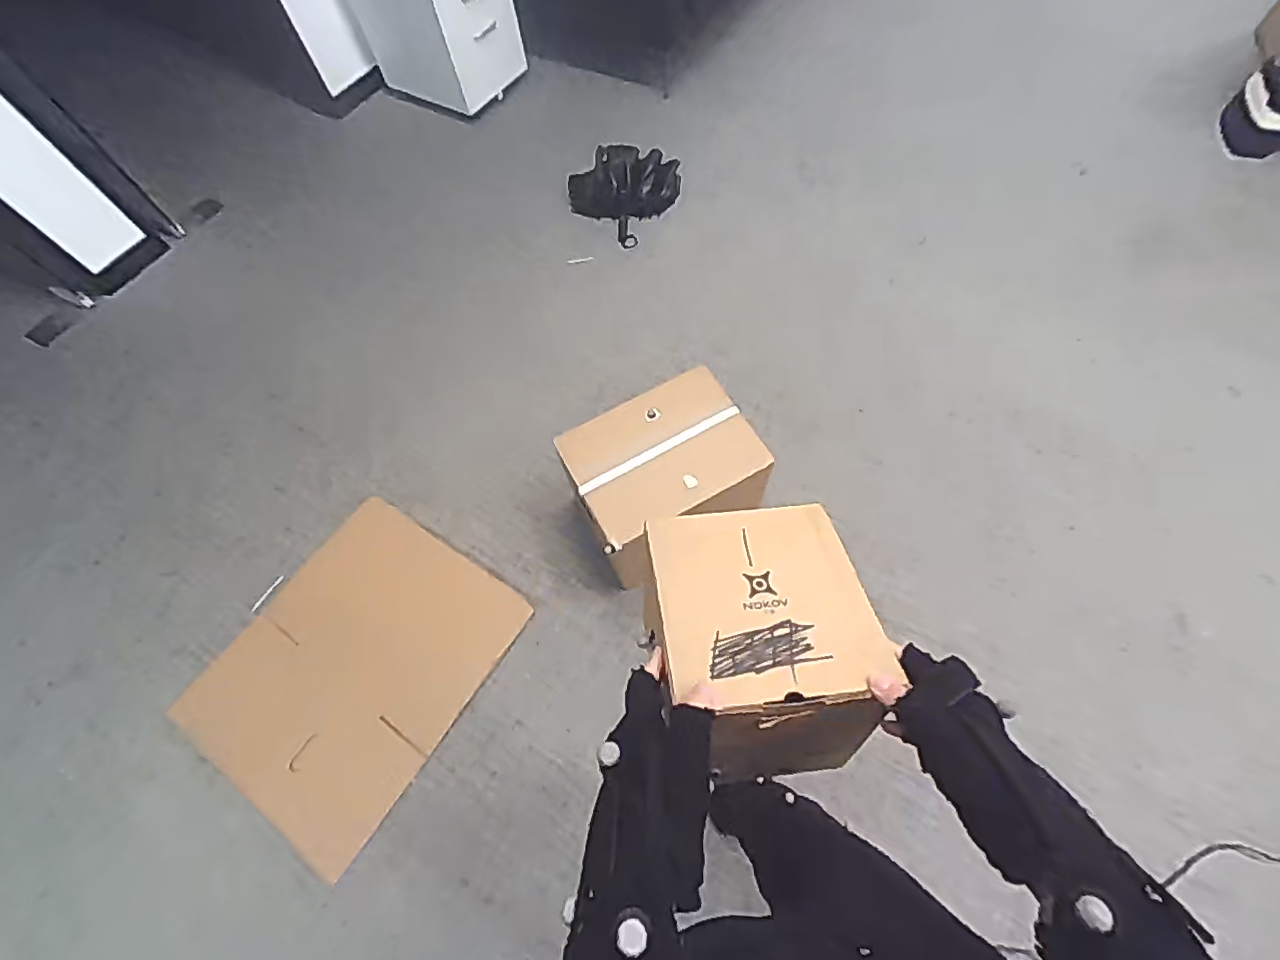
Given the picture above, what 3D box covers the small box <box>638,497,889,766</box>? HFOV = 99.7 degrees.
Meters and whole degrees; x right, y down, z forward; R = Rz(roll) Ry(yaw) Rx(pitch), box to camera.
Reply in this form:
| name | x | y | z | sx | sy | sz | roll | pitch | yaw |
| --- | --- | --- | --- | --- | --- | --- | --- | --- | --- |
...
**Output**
| name | x | y | z | sx | sy | sz | roll | pitch | yaw |
| --- | --- | --- | --- | --- | --- | --- | --- | --- | --- |
| small box | 0.092 | 0.142 | 0.493 | 0.168 | 0.176 | 0.179 | -6 | 45 | -4 |
